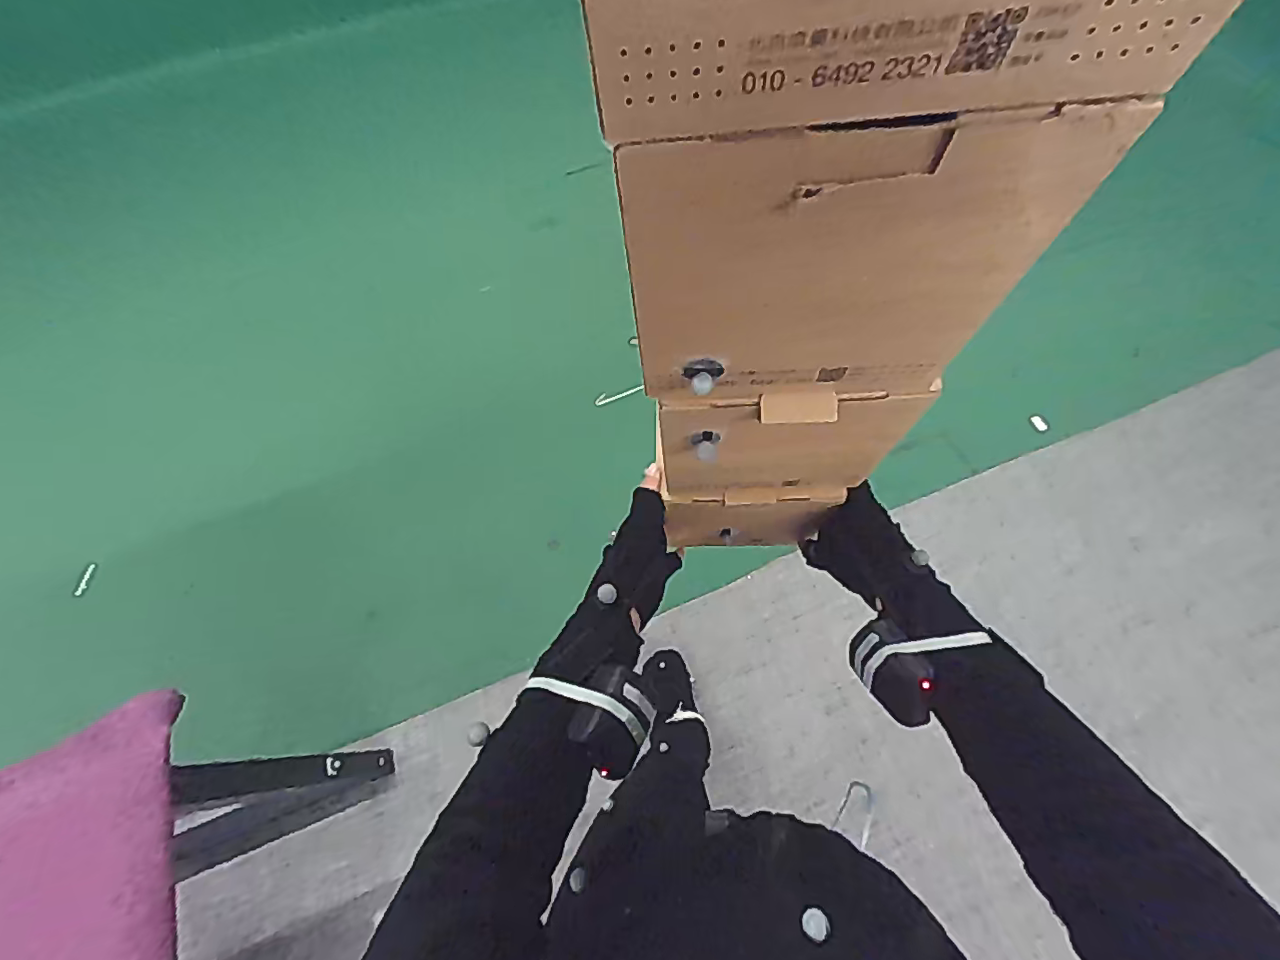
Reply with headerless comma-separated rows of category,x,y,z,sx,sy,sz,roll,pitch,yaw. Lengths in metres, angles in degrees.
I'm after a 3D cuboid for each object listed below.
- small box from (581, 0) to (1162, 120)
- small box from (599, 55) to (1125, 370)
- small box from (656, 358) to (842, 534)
small box,0.056,-0.223,0.120,0.168,0.176,0.179,-3,70,4
small box,0.075,-0.168,0.274,0.168,0.176,0.179,-2,70,4
small box,0.102,-0.047,0.580,0.168,0.176,0.179,-1,72,4
